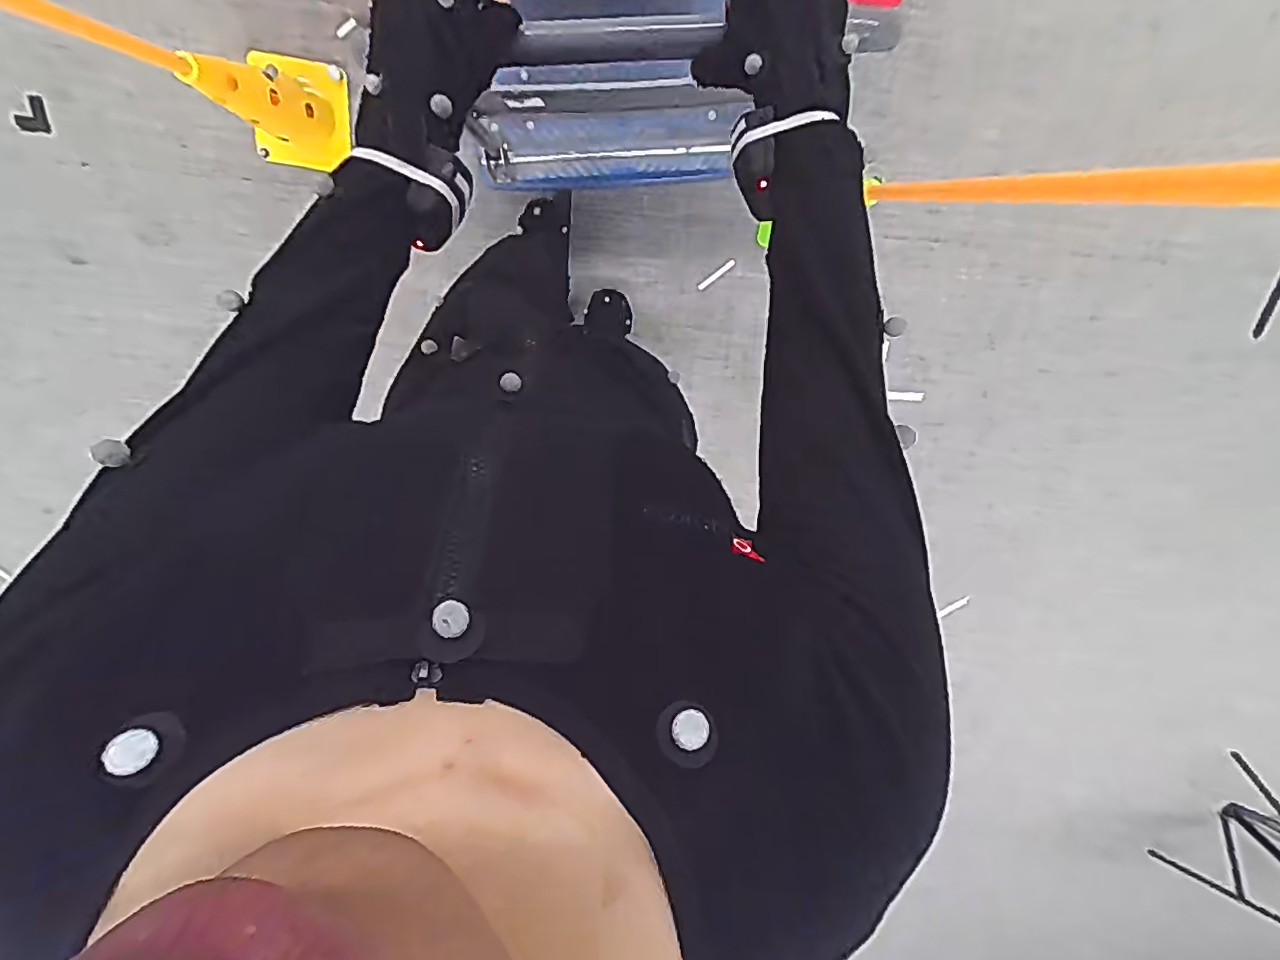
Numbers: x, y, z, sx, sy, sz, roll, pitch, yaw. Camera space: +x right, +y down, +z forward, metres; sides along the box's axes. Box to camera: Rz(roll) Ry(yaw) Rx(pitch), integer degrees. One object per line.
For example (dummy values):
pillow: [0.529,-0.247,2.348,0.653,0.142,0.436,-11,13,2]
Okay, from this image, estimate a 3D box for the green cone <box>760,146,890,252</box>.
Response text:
green cone: [0.403,-0.582,1.107,0.202,0.368,0.200,7,114,-6]
